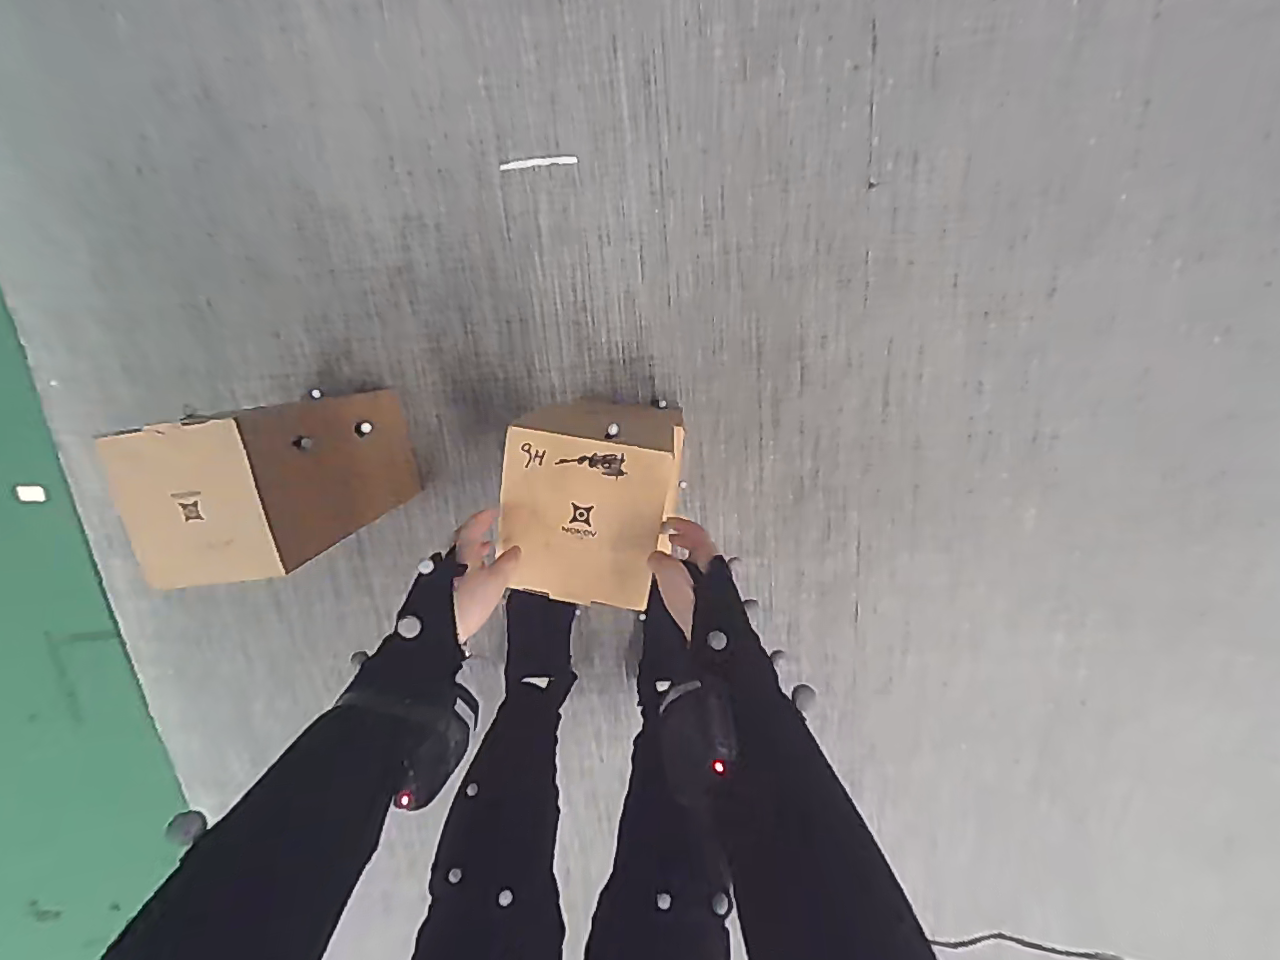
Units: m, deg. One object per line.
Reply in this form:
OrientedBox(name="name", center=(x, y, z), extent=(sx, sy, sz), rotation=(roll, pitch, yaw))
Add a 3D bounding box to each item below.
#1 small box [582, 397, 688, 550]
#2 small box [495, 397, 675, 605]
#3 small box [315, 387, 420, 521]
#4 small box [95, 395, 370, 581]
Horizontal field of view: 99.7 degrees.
OrientedBox(name="small box", center=(-0.025, -0.019, 0.777), extent=(0.168, 0.176, 0.179), rotation=(6, 106, 2))
OrientedBox(name="small box", center=(-0.054, 0.013, 0.618), extent=(0.168, 0.176, 0.179), rotation=(10, 106, 1))
OrientedBox(name="small box", center=(-0.453, -0.039, 0.797), extent=(0.168, 0.176, 0.179), rotation=(-8, 105, 5))
OrientedBox(name="small box", center=(-0.456, -0.002, 0.639), extent=(0.168, 0.176, 0.179), rotation=(-7, 105, 7))
